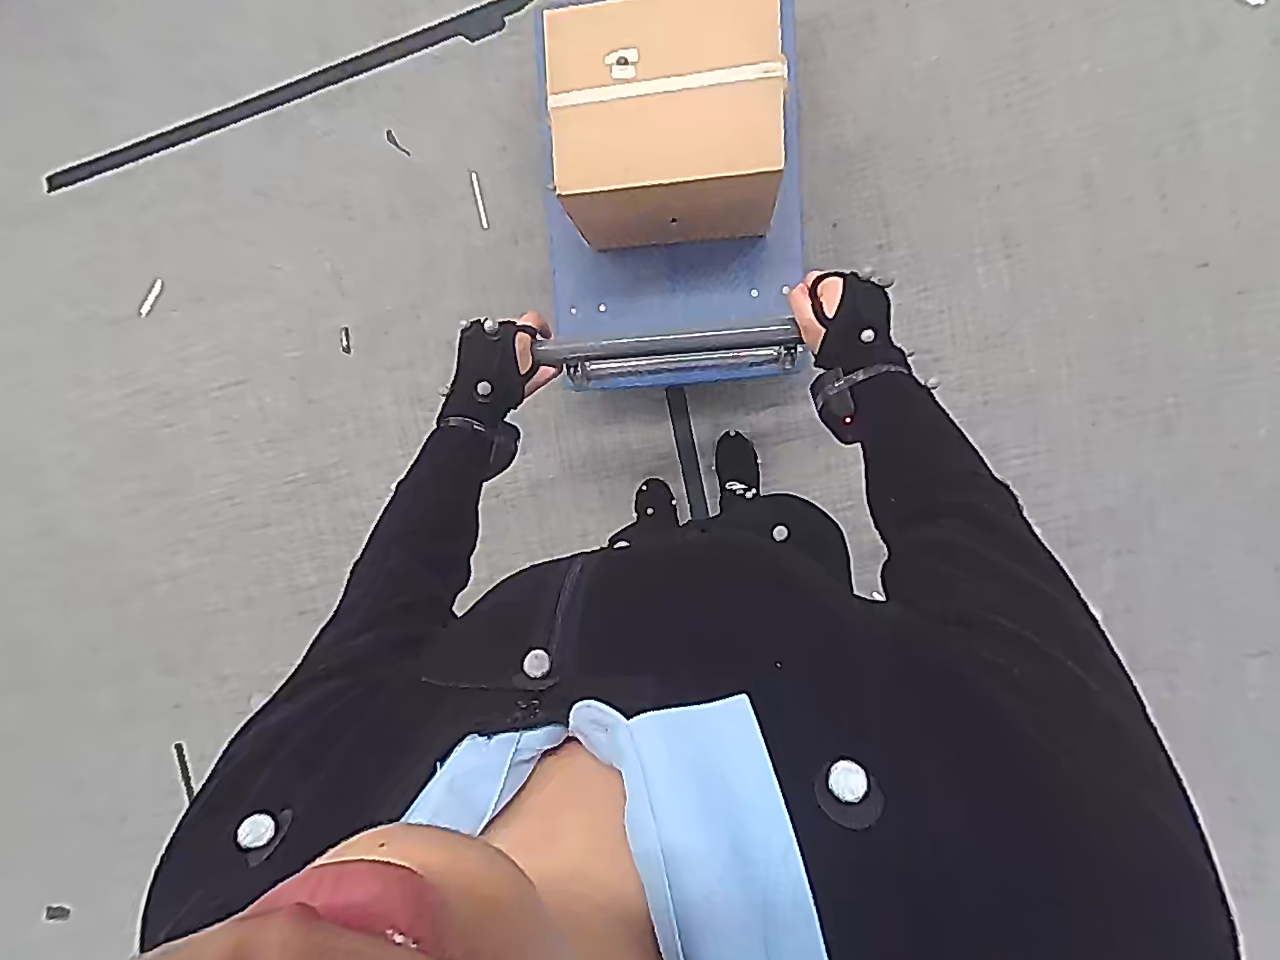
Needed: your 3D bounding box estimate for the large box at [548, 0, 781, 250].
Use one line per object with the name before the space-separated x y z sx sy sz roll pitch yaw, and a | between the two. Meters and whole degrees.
large box | 0.061 -0.690 1.099 0.408 0.320 0.320 -3 94 9
